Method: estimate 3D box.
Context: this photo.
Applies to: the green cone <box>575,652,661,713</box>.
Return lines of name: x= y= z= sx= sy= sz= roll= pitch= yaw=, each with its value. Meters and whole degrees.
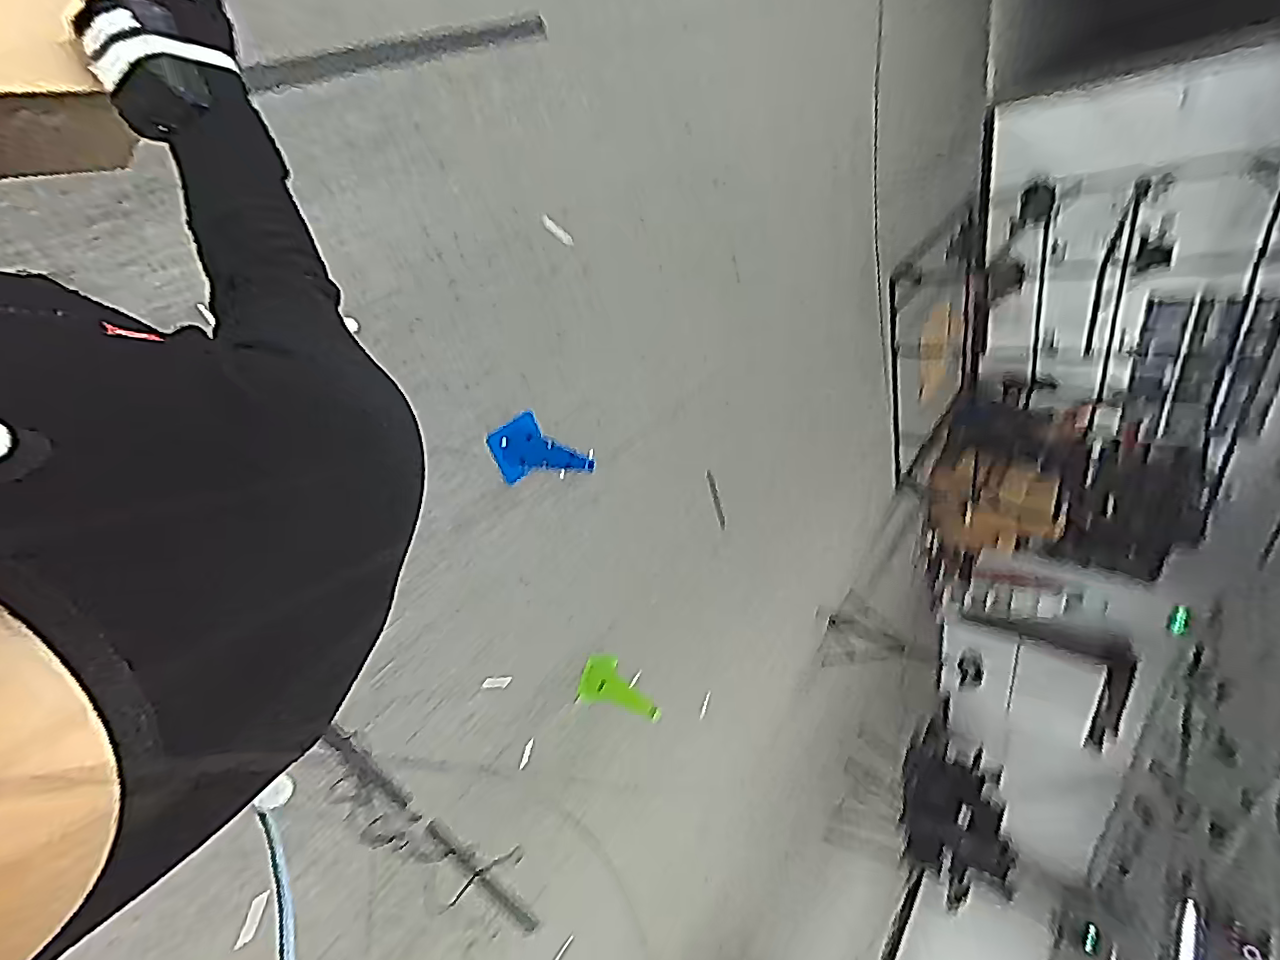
green cone: x=-0.061 y=0.877 z=2.249 sx=0.200 sy=0.368 sz=0.202 roll=24 pitch=81 yaw=-50

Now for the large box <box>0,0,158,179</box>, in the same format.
large box: x=-0.611 y=-0.353 z=0.302 sx=0.408 sy=0.320 sz=0.320 roll=-34 pitch=125 yaw=-37

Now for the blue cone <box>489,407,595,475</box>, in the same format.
blue cone: x=-0.294 y=-0.101 z=1.728 sx=0.192 sy=0.380 sz=0.193 roll=-42 pitch=129 yaw=-35
